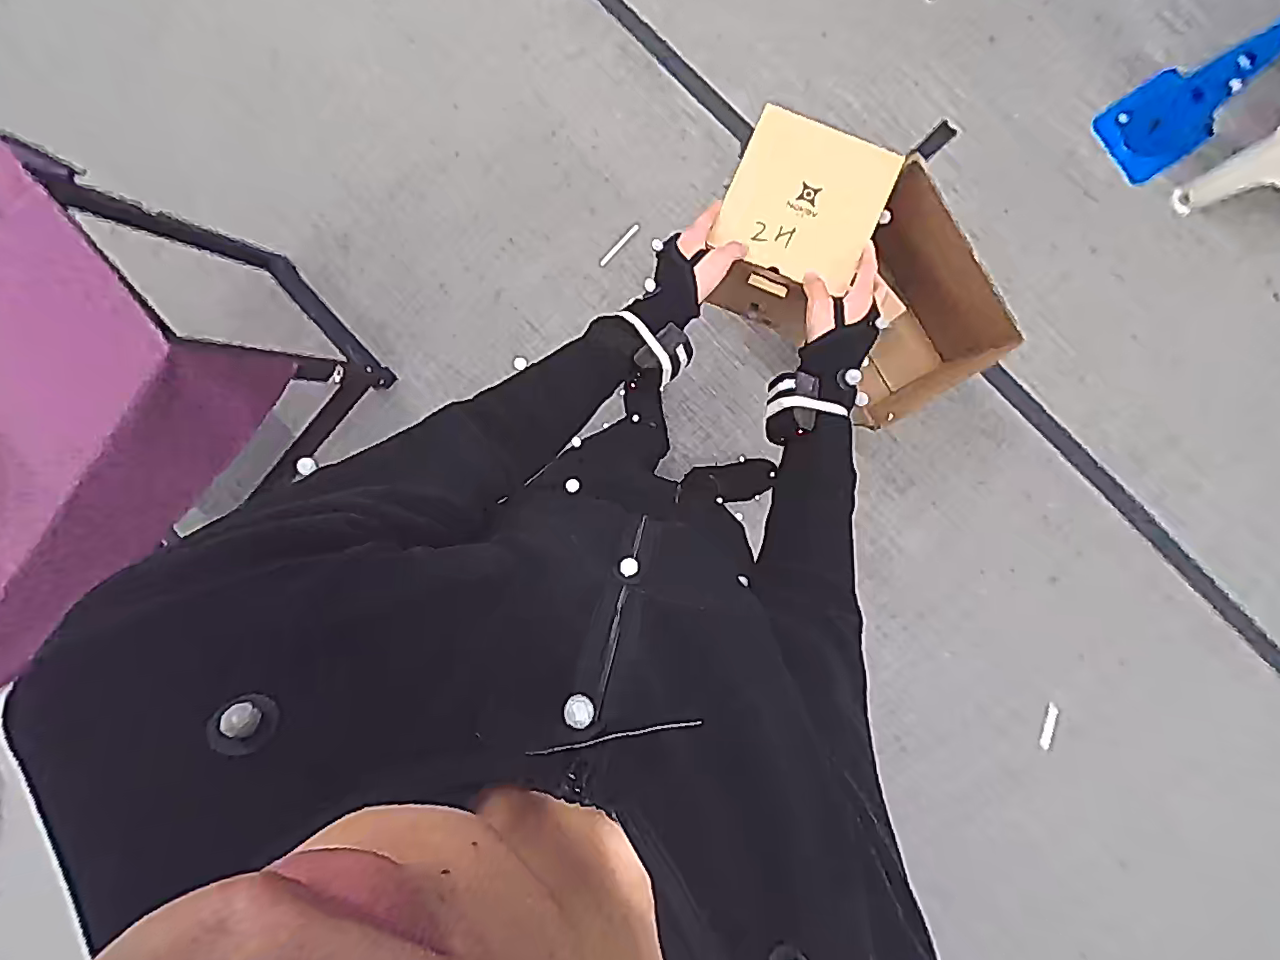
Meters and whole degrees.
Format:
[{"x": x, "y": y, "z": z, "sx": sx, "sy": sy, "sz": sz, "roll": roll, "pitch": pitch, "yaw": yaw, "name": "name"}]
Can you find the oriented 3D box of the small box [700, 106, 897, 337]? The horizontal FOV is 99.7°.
[{"x": 0.181, "y": -0.306, "z": 0.678, "sx": 0.168, "sy": 0.176, "sz": 0.179, "roll": 23, "pitch": 90, "yaw": 3, "name": "small box"}]
